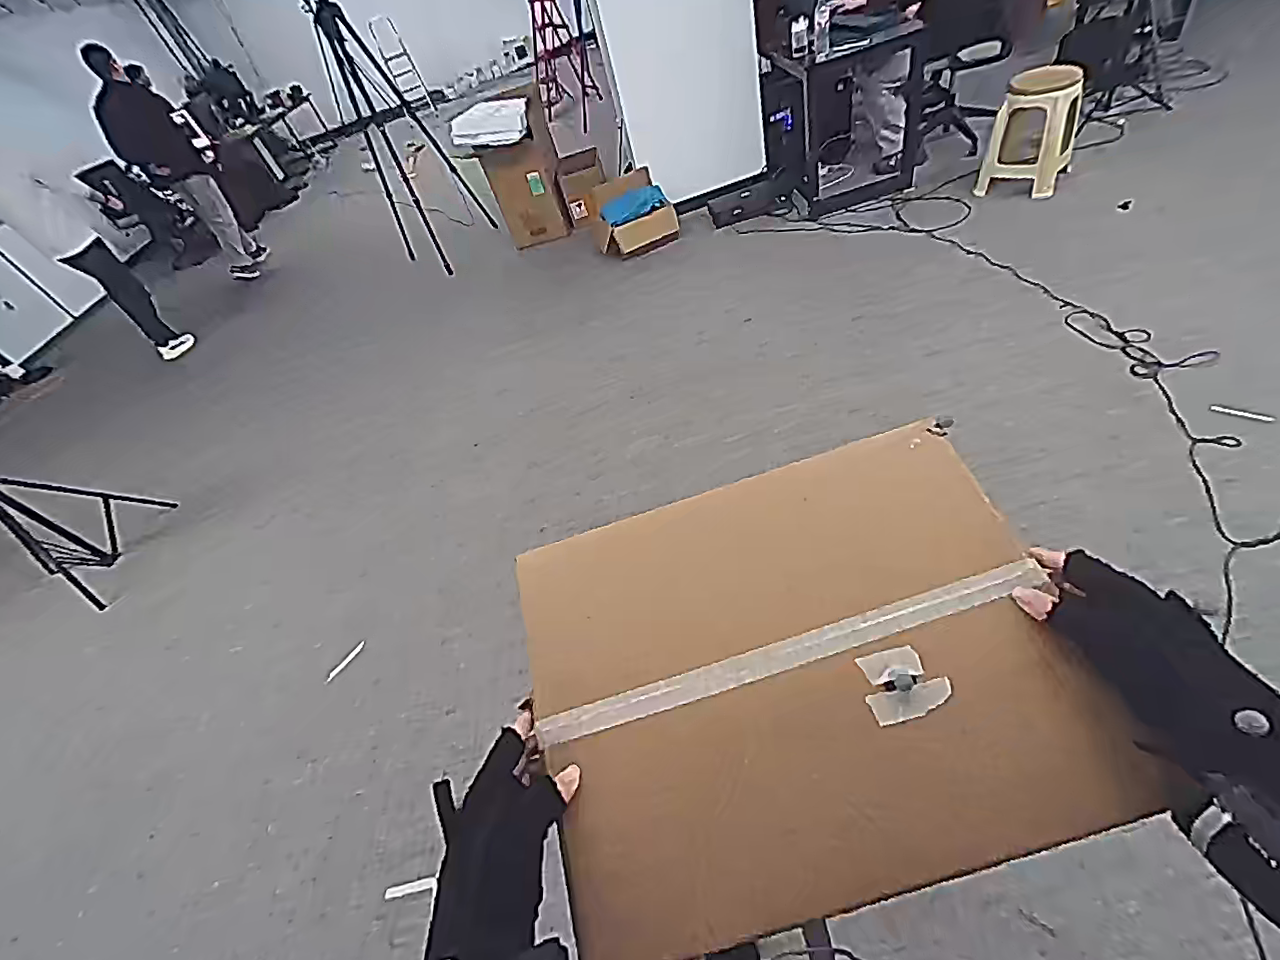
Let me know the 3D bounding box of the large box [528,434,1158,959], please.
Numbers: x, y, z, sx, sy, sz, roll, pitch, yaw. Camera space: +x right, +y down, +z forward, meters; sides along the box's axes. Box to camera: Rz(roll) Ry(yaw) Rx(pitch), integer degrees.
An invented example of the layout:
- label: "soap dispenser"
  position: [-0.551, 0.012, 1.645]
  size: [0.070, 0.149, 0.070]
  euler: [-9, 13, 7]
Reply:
- label: "large box"
  position: [0.144, 0.217, 0.562]
  size: [0.408, 0.320, 0.320]
  euler: [-19, 59, 1]
